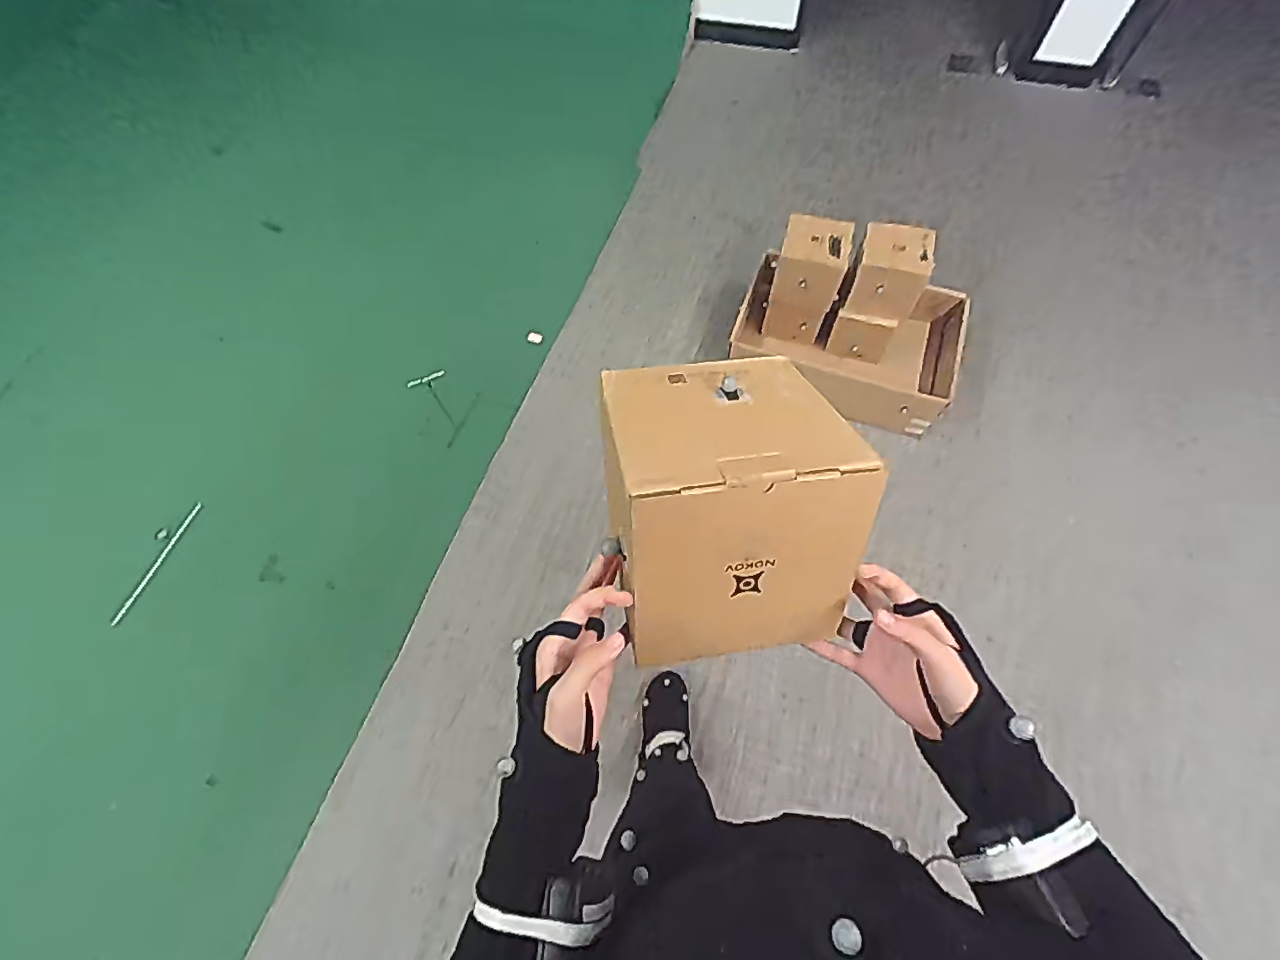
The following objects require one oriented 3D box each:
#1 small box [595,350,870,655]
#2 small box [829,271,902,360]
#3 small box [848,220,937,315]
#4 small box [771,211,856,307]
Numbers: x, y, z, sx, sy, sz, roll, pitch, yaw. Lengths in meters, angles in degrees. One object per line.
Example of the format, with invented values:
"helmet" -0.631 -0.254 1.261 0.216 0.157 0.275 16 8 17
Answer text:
"small box" 0.055 0.013 0.443 0.168 0.179 0.176 -7 37 -6
"small box" 0.676 -0.491 1.610 0.168 0.176 0.179 17 68 13
"small box" 0.677 -0.573 1.466 0.179 0.176 0.168 13 67 12
"small box" 0.475 -0.605 1.495 0.179 0.176 0.168 14 68 10
